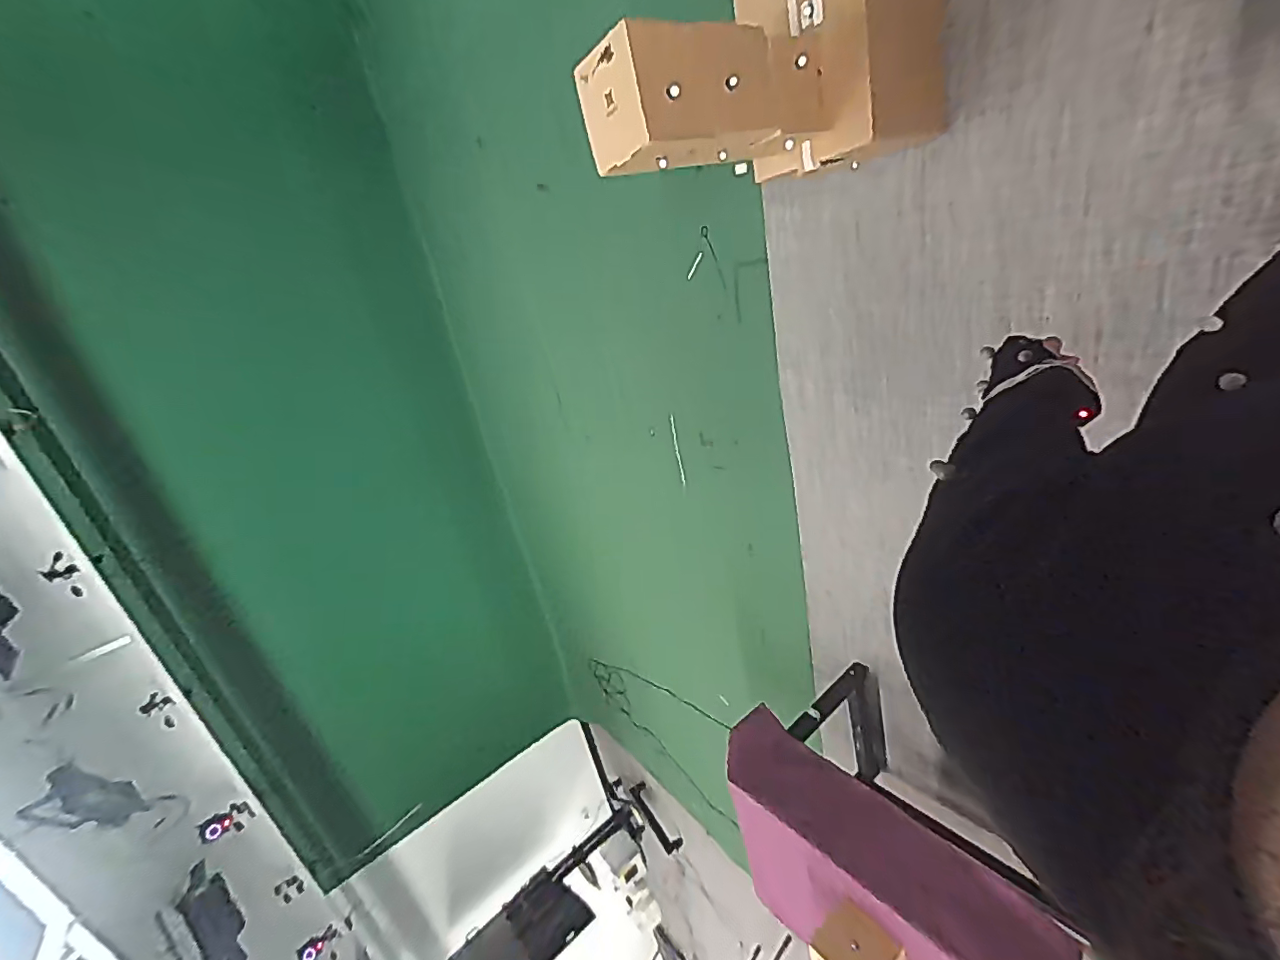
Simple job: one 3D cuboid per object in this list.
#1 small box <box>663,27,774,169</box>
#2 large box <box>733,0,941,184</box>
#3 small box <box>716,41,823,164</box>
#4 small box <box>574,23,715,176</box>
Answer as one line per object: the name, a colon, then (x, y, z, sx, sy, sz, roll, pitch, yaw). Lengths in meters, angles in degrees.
small box: (0.138, -0.730, 1.046, 0.168, 0.176, 0.179, 8, 118, 53)
large box: (0.449, -0.936, 1.221, 0.320, 0.320, 0.408, 16, 124, 51)
small box: (0.265, -0.784, 1.133, 0.179, 0.176, 0.168, 15, 124, 53)
small box: (0.012, -0.667, 0.960, 0.168, 0.176, 0.179, 11, 121, 53)
